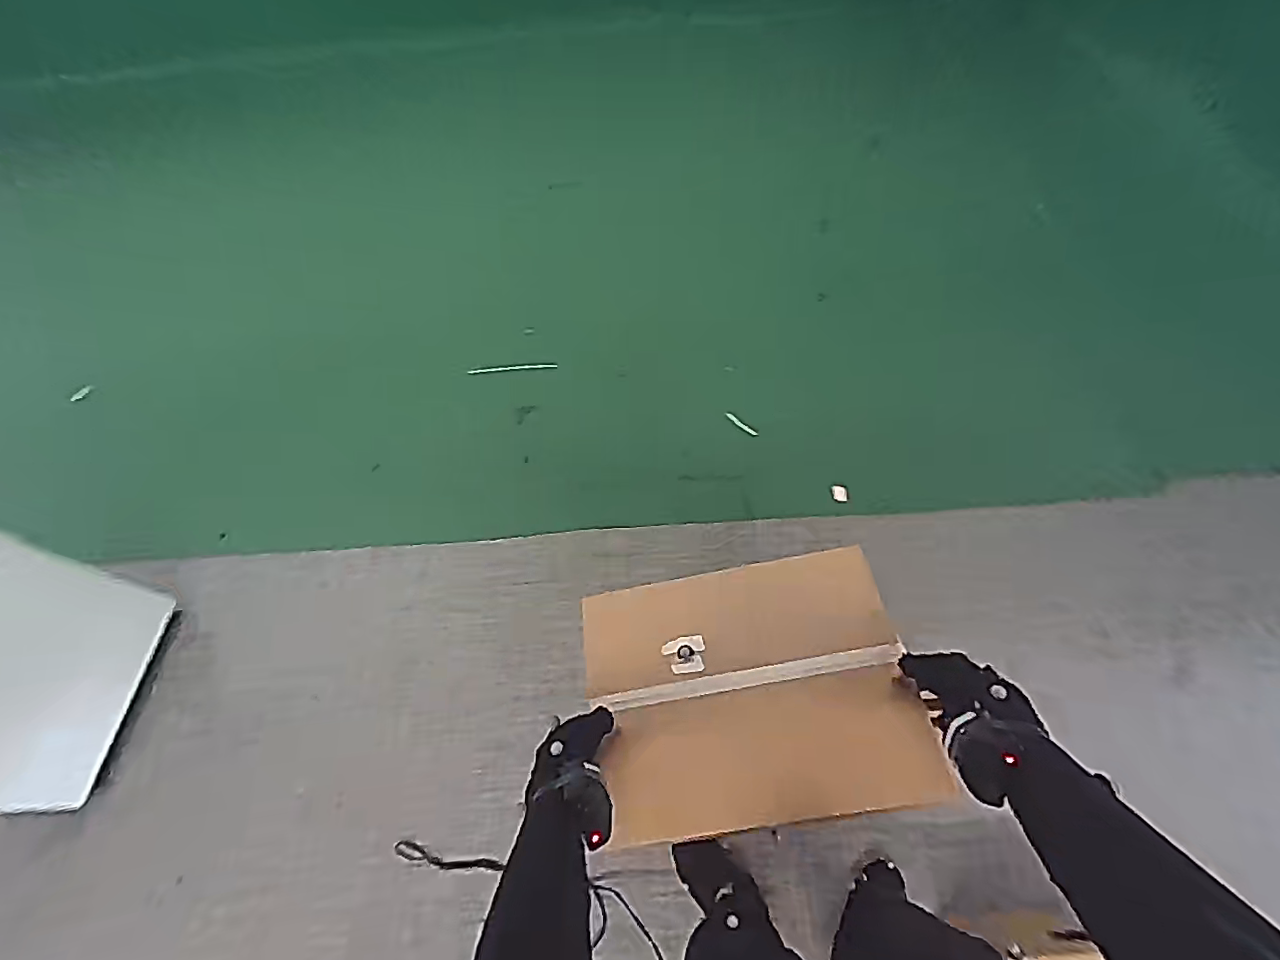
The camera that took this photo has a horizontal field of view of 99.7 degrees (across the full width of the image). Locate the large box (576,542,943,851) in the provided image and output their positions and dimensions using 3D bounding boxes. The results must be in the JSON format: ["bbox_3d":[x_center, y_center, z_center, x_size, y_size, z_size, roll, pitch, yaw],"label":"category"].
[{"bbox_3d":[0.151,0.334,0.810,0.408,0.320,0.320,-13,55,6],"label":"large box"}]
